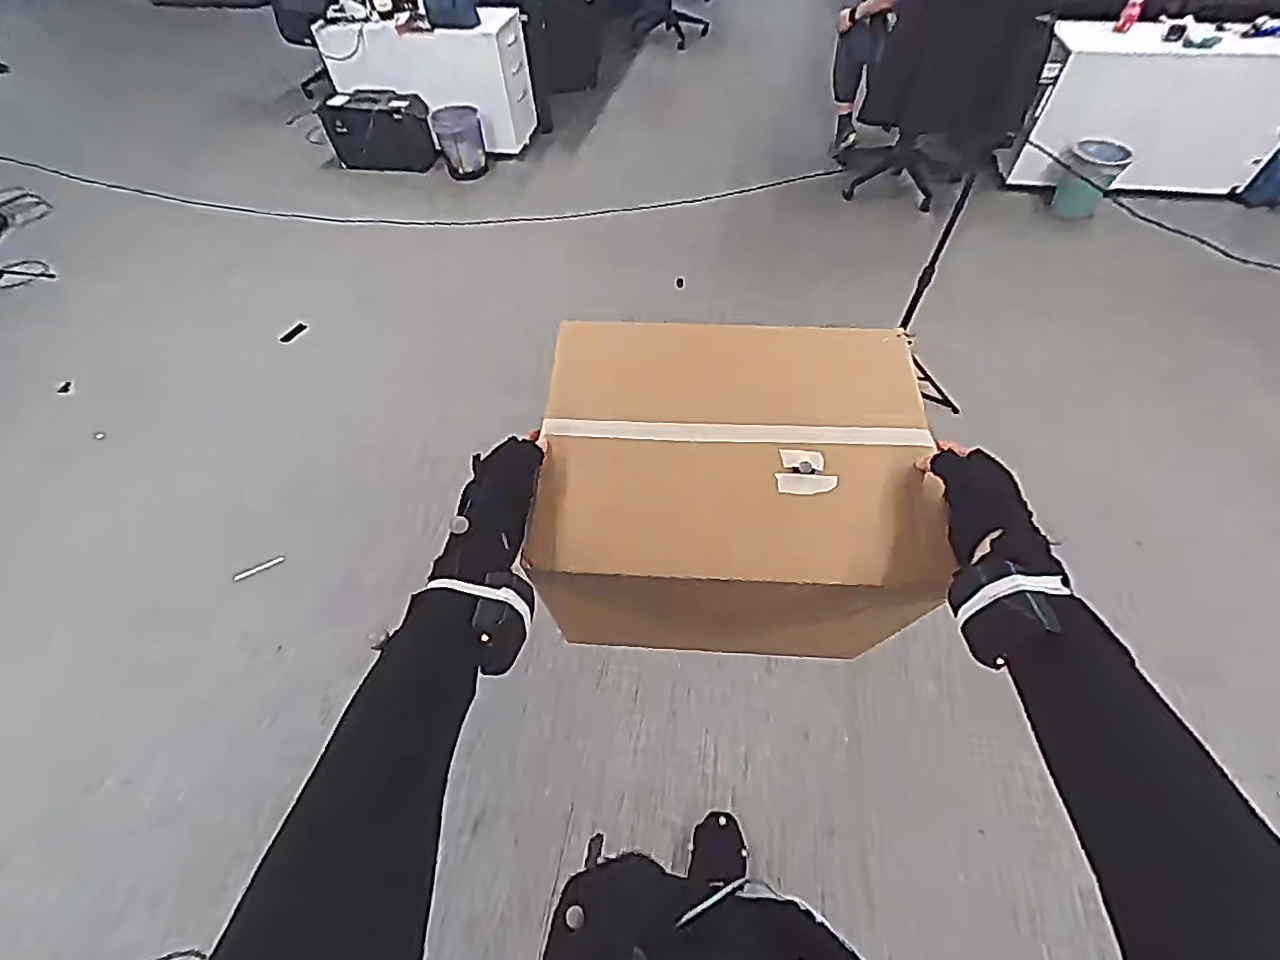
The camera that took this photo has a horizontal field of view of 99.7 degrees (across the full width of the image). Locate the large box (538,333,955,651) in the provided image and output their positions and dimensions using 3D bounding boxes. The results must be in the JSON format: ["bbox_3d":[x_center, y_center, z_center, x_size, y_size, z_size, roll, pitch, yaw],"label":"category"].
[{"bbox_3d":[0.104,0.031,0.711,0.408,0.320,0.320,2,61,2],"label":"large box"}]
